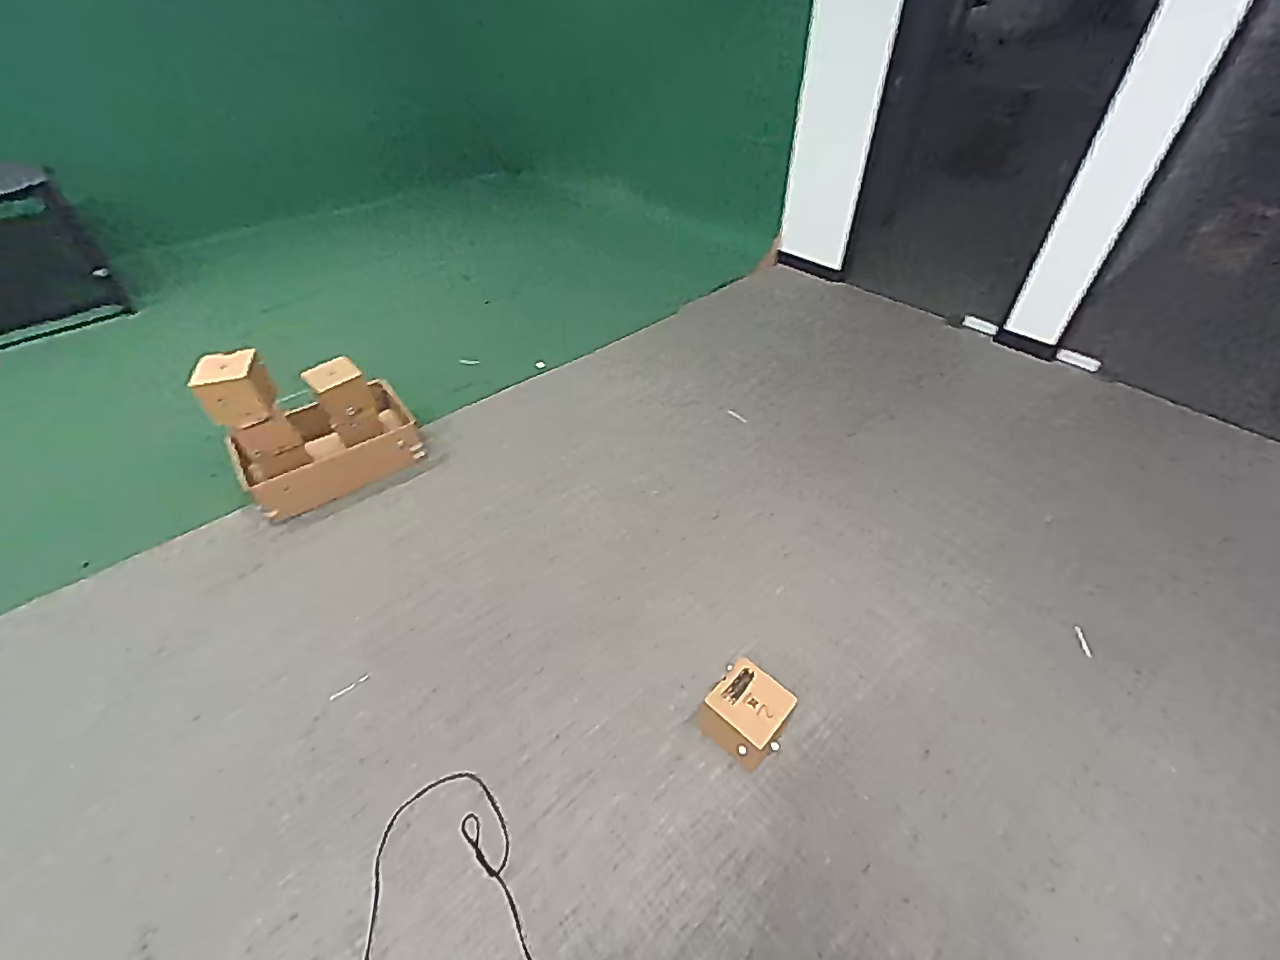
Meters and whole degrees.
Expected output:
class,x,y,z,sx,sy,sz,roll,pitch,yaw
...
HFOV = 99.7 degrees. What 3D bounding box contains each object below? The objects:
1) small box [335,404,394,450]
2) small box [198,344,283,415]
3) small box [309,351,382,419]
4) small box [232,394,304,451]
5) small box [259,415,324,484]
class,x,y,z,sx,sy,sz,roll,pitch,yaw
small box,-1.141,-0.255,2.223,0.168,0.176,0.179,-27,51,-22
small box,-1.350,-0.337,1.843,0.168,0.176,0.179,-12,45,-12
small box,-1.143,-0.368,2.105,0.168,0.176,0.179,-36,57,-27
small box,-1.356,-0.224,1.959,0.168,0.176,0.179,-29,51,-27
small box,-1.357,-0.116,2.083,0.168,0.176,0.179,-31,52,-27
